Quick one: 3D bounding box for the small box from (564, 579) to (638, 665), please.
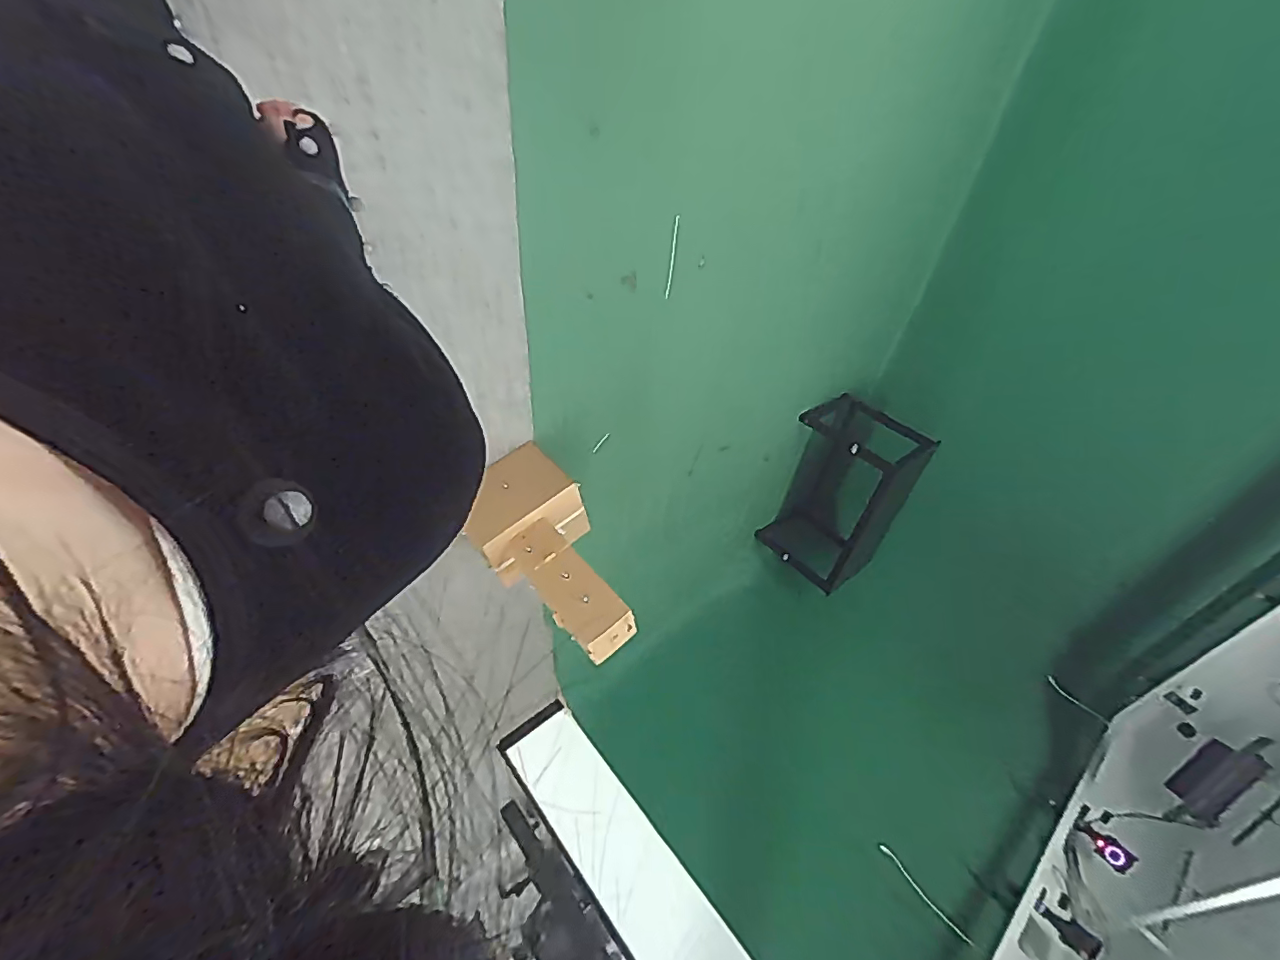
[{"bbox_3d":[-0.130,0.458,1.757,0.179,0.176,0.168,-35,145,-20],"label":"small box"}]

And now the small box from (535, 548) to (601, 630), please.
[{"bbox_3d":[-0.238,0.368,1.843,0.179,0.176,0.168,-37,145,-20],"label":"small box"}]

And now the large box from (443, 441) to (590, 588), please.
[{"bbox_3d":[-0.465,0.127,2.084,0.408,0.320,0.320,-37,147,-21],"label":"large box"}]

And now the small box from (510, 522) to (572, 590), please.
[{"bbox_3d":[-0.341,0.275,1.929,0.168,0.176,0.179,-36,145,-21],"label":"small box"}]
